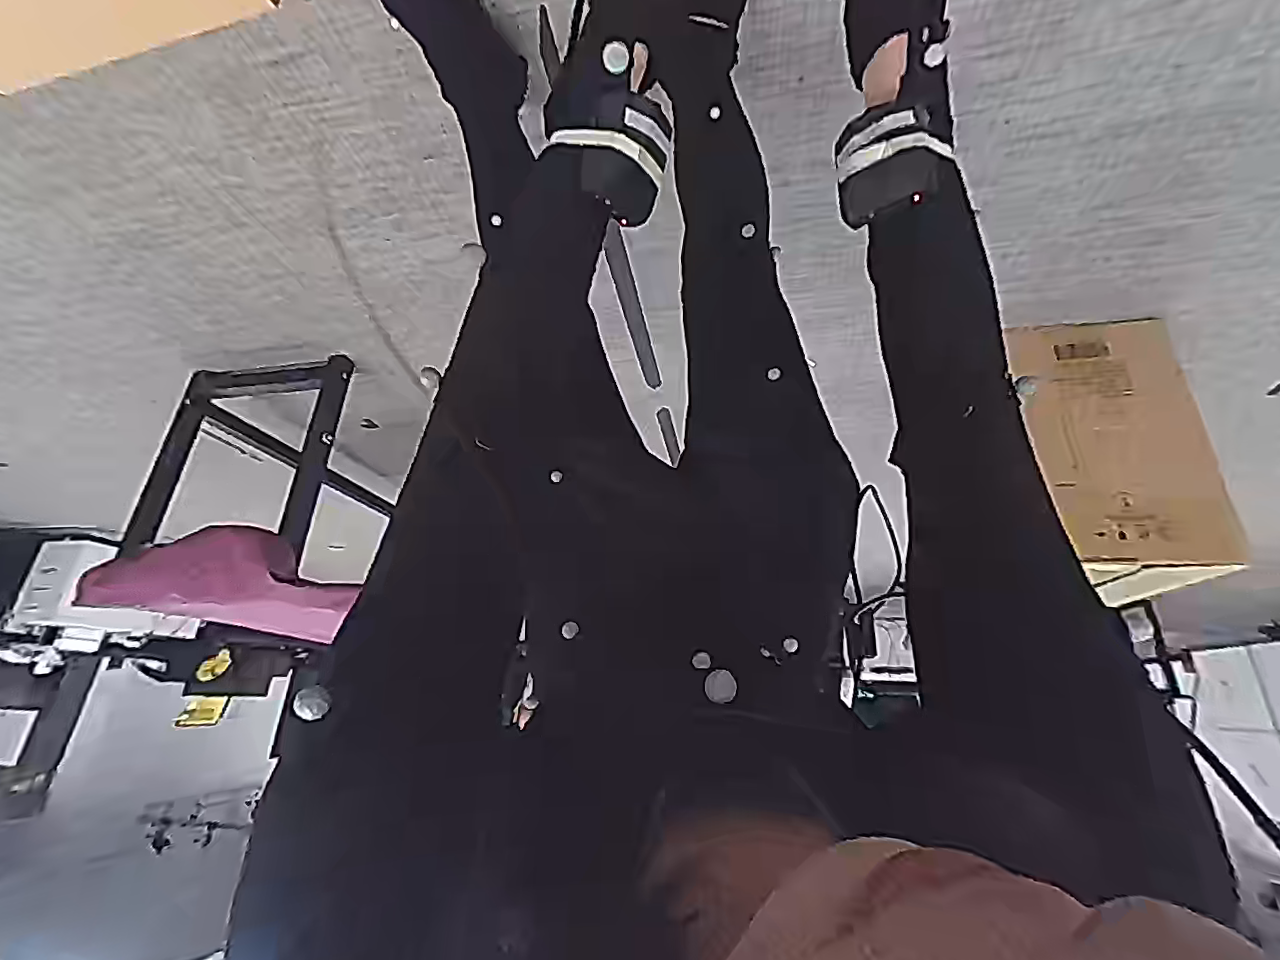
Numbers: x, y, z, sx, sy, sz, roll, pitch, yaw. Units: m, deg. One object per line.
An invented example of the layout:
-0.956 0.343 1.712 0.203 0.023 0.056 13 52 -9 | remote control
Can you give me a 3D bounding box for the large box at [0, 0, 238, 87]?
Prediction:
-0.580 -0.664 0.501 0.408 0.320 0.320 -4 157 14 | large box
